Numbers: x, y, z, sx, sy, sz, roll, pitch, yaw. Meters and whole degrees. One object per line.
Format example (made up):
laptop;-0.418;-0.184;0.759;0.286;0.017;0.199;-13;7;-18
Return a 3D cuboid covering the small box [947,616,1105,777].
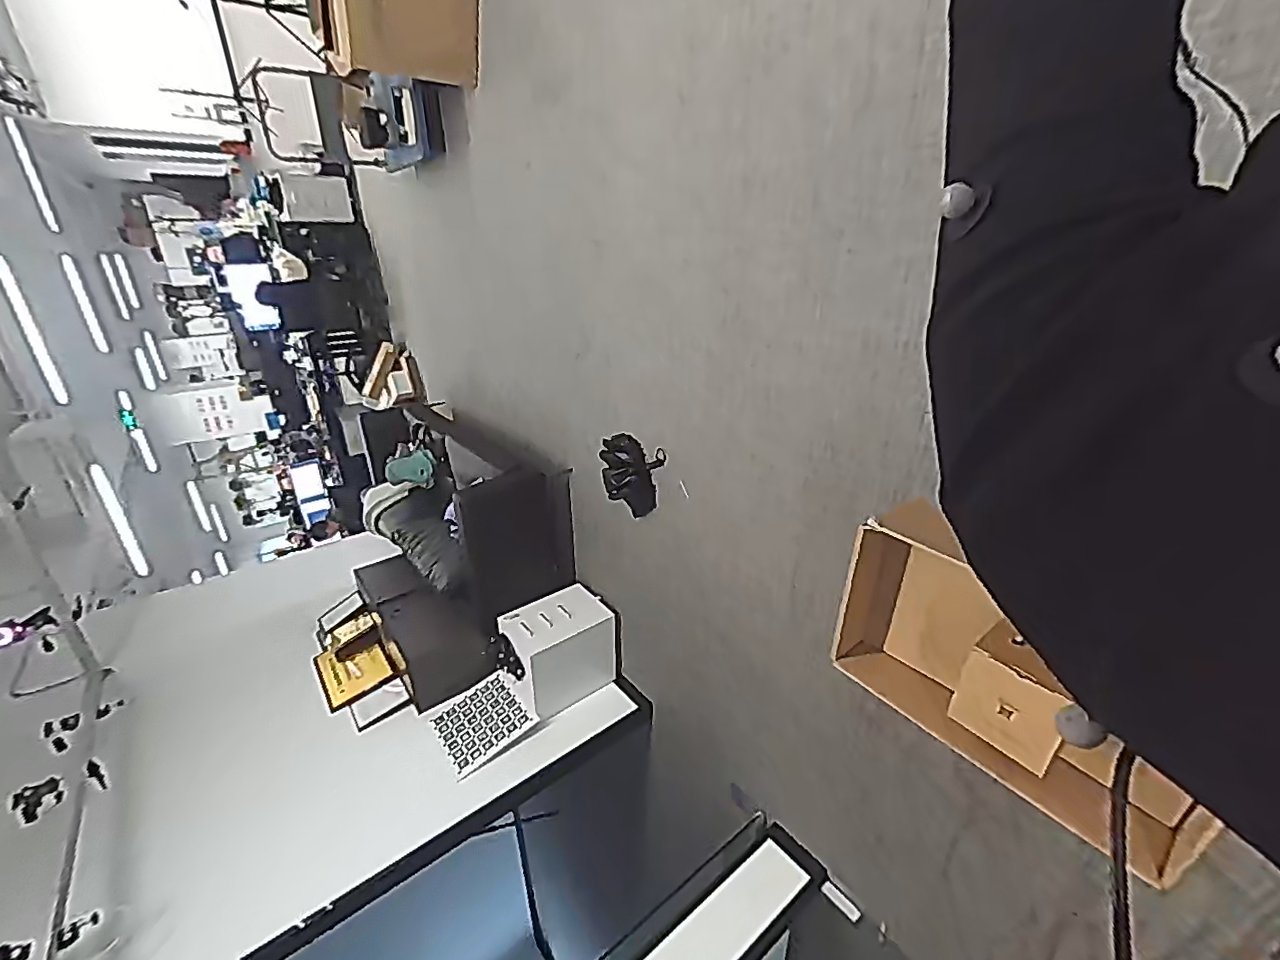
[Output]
small box;0.699;0.380;0.982;0.168;0.176;0.179;31;132;47
